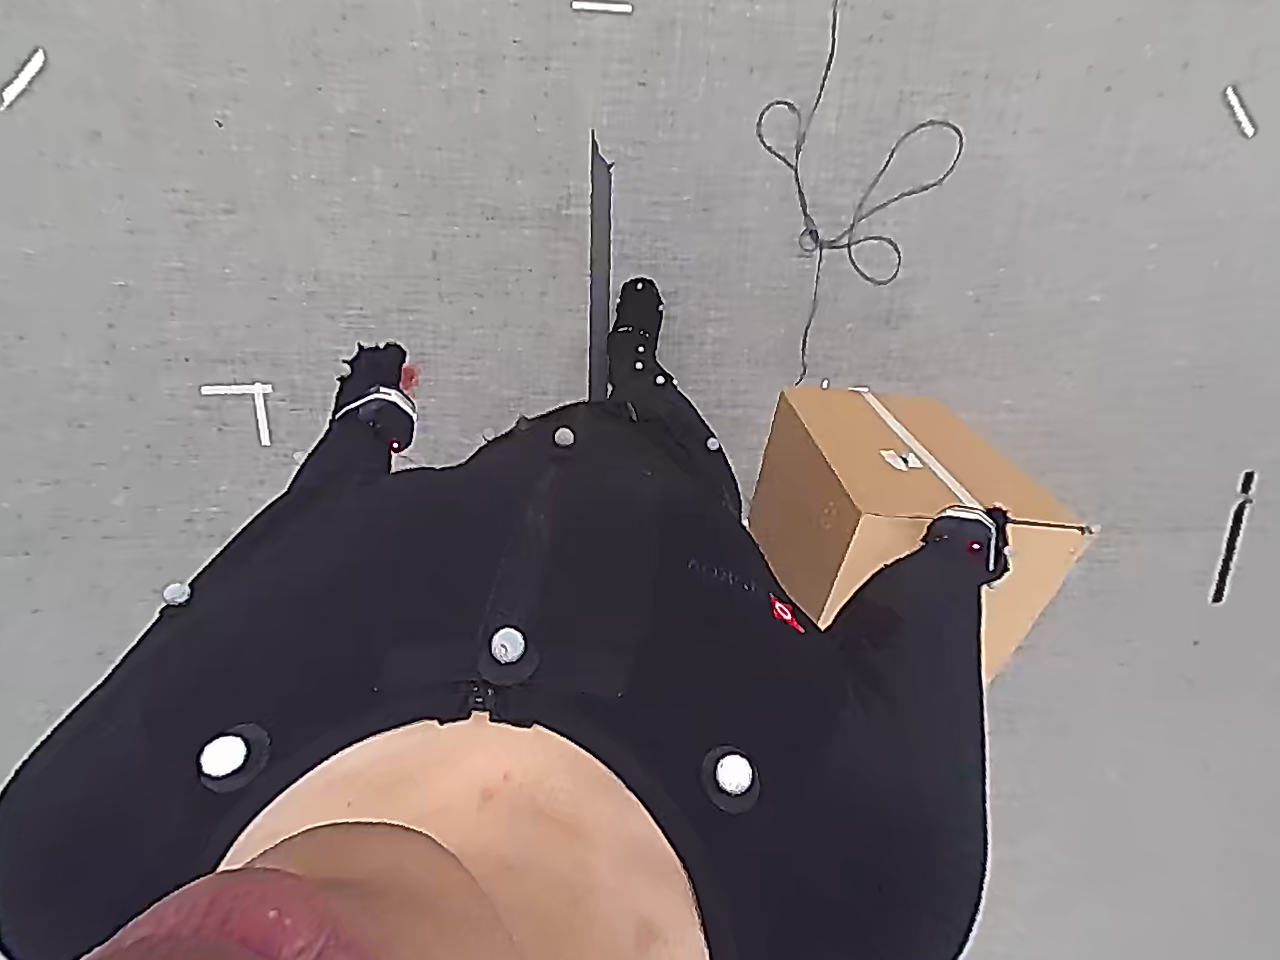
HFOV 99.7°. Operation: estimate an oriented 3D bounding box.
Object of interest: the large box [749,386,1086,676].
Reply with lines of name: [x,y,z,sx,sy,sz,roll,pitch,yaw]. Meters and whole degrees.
large box: [0.409,0.071,0.938,0.320,0.408,0.320,4,123,-5]
